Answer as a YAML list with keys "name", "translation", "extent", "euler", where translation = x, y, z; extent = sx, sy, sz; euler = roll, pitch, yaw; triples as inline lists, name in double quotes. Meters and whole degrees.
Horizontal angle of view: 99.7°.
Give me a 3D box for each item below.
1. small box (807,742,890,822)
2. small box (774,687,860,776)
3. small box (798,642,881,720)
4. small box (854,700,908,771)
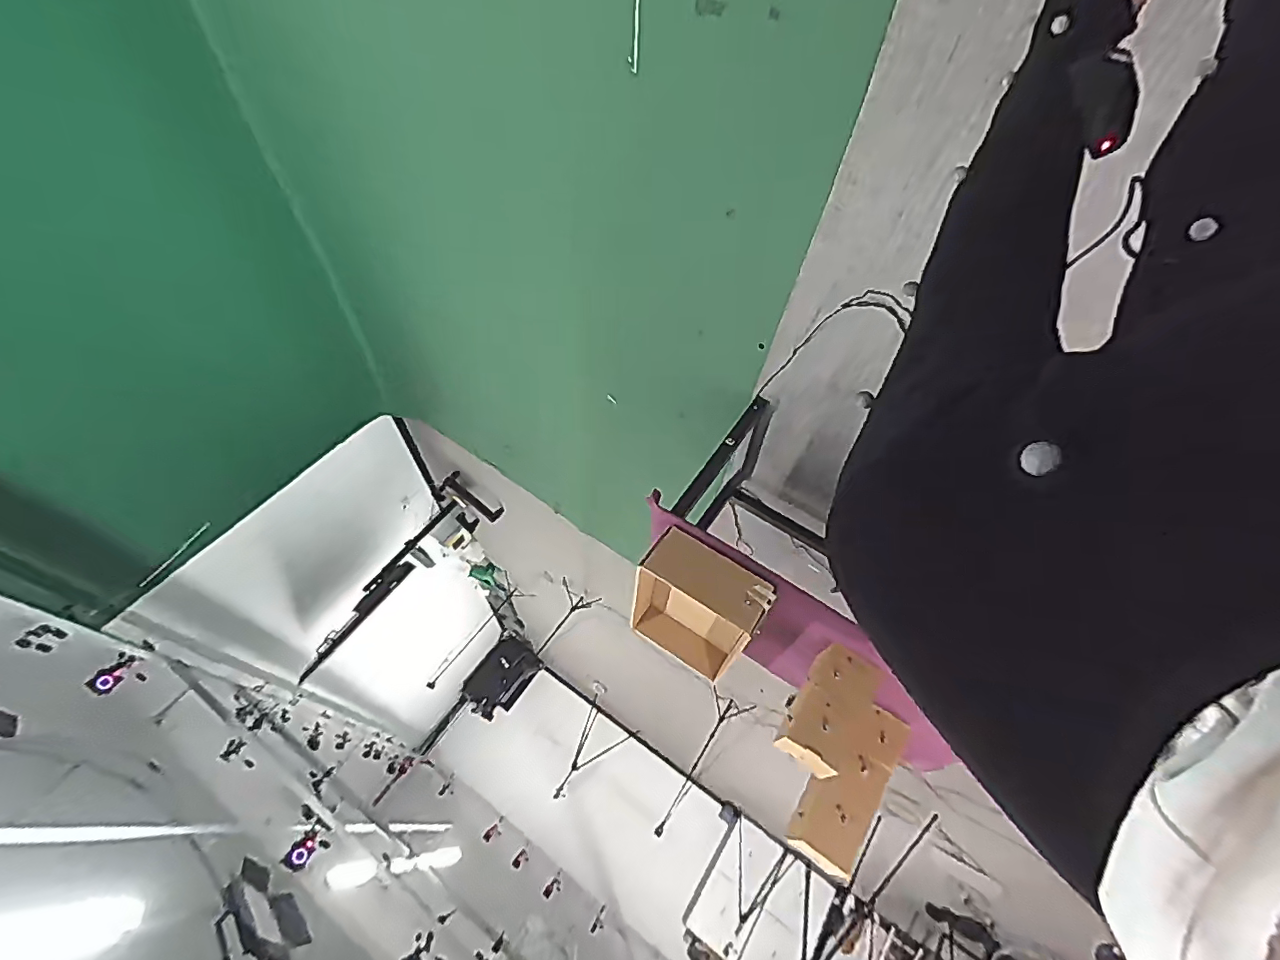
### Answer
- name: "small box"
  translation: [0.673, 0.965, 1.744]
  extent: [0.168, 0.176, 0.179]
  euler: [33, 151, 13]
- name: "small box"
  translation: [0.525, 0.740, 1.599]
  extent: [0.168, 0.176, 0.179]
  euler: [32, 151, 17]
- name: "small box"
  translation: [0.619, 0.627, 1.671]
  extent: [0.168, 0.176, 0.179]
  euler: [32, 152, 16]
- name: "small box"
  translation: [0.772, 0.855, 1.817]
  extent: [0.168, 0.176, 0.179]
  euler: [30, 151, 17]
